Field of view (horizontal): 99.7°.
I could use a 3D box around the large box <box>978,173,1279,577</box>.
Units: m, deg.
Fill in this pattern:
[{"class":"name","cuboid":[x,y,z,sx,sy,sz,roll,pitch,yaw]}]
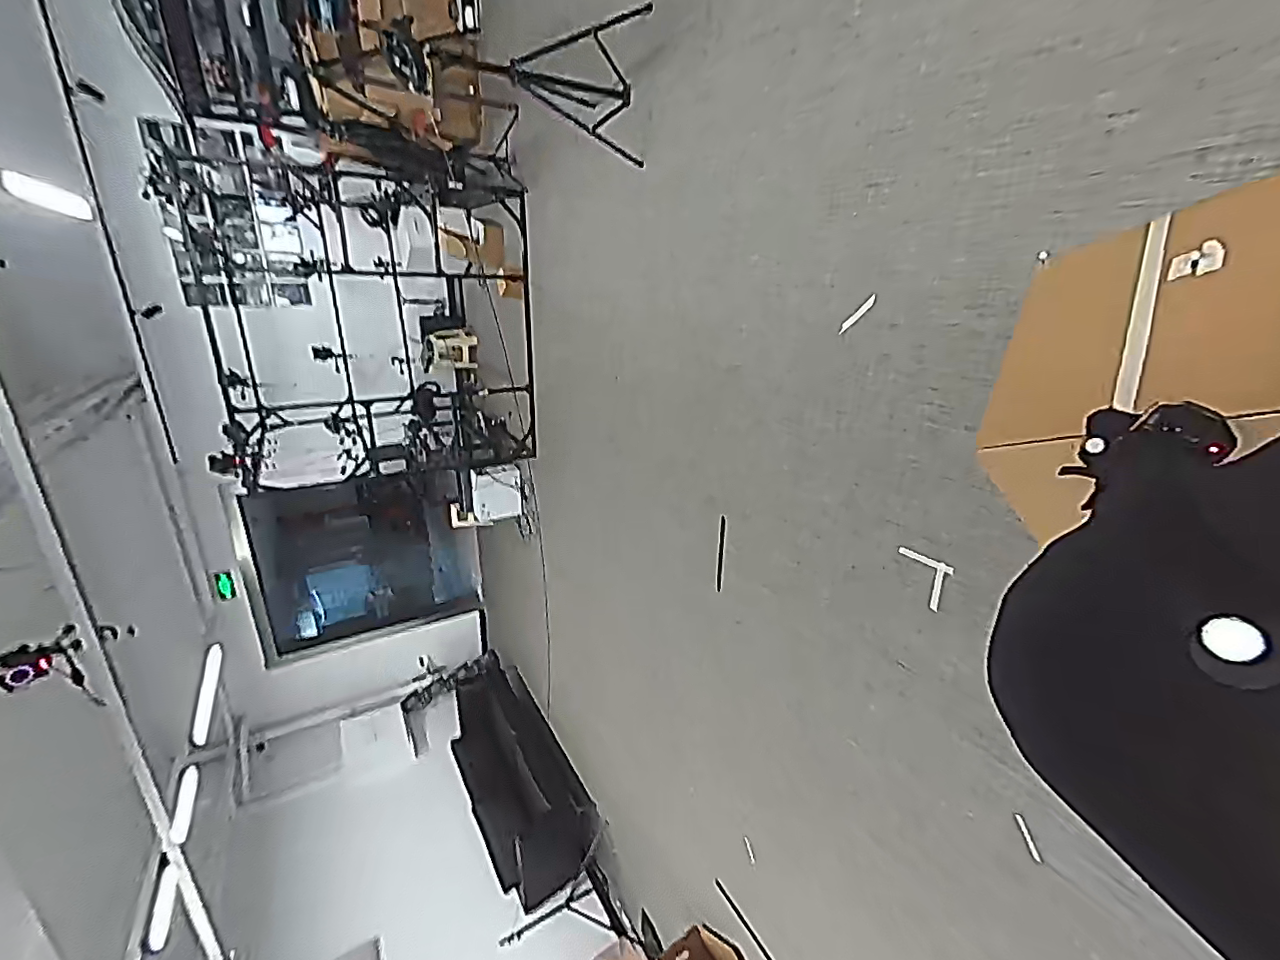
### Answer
[{"class":"large box","cuboid":[0.740,-0.118,0.737,0.320,0.408,0.320,42,157,-21]}]
